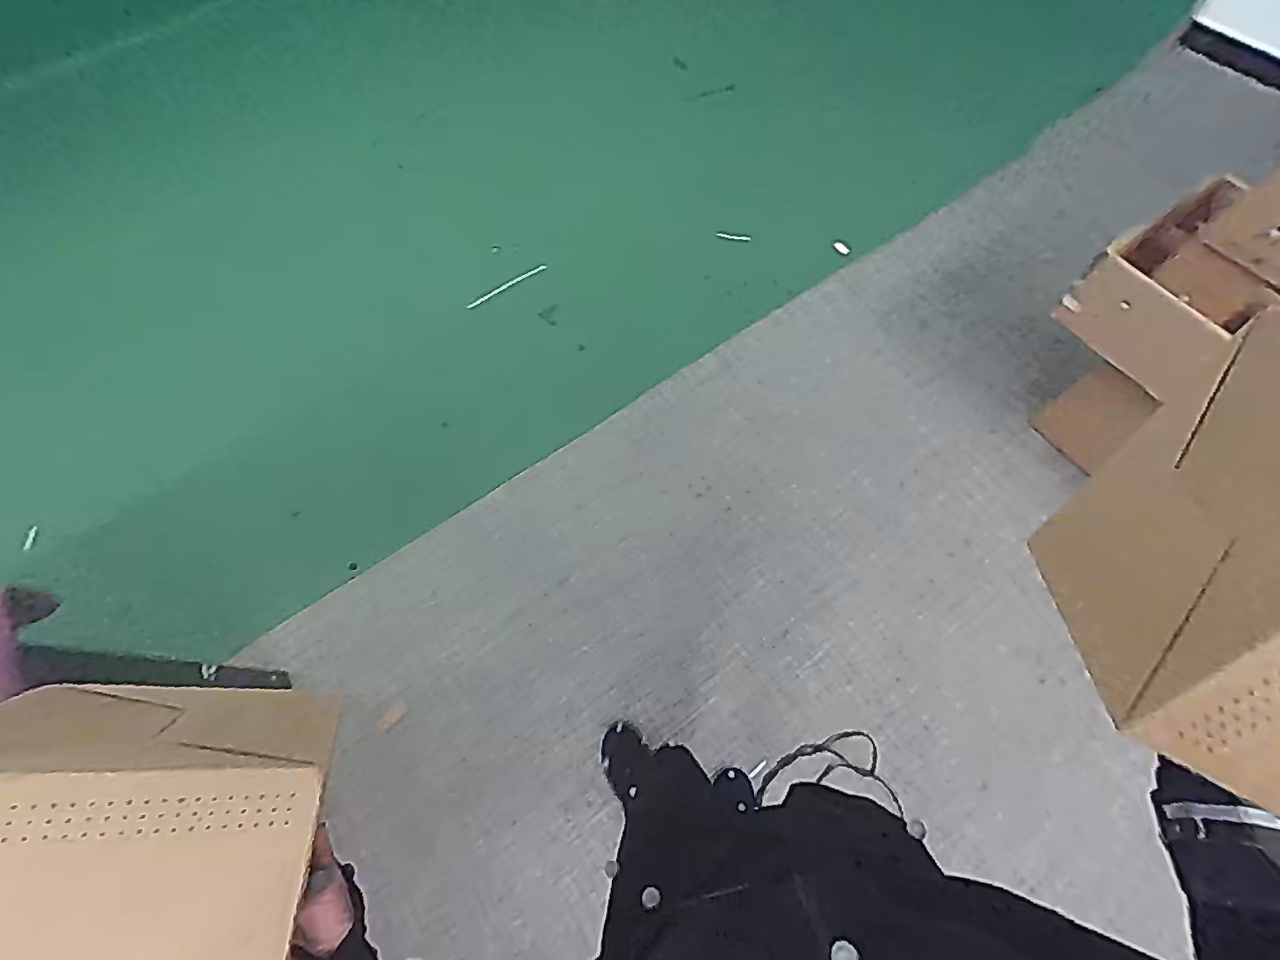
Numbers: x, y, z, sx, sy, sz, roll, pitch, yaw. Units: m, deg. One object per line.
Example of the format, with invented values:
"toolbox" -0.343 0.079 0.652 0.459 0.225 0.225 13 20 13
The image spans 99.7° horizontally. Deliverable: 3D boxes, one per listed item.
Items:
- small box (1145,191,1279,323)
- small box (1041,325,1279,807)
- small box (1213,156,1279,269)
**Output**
"small box" 1.232 -0.469 1.128 0.179 0.176 0.168 -37 69 -10
"small box" 0.334 0.048 0.244 0.176 0.179 0.168 29 33 7
"small box" 1.213 -0.516 0.972 0.179 0.176 0.168 -37 70 -10
